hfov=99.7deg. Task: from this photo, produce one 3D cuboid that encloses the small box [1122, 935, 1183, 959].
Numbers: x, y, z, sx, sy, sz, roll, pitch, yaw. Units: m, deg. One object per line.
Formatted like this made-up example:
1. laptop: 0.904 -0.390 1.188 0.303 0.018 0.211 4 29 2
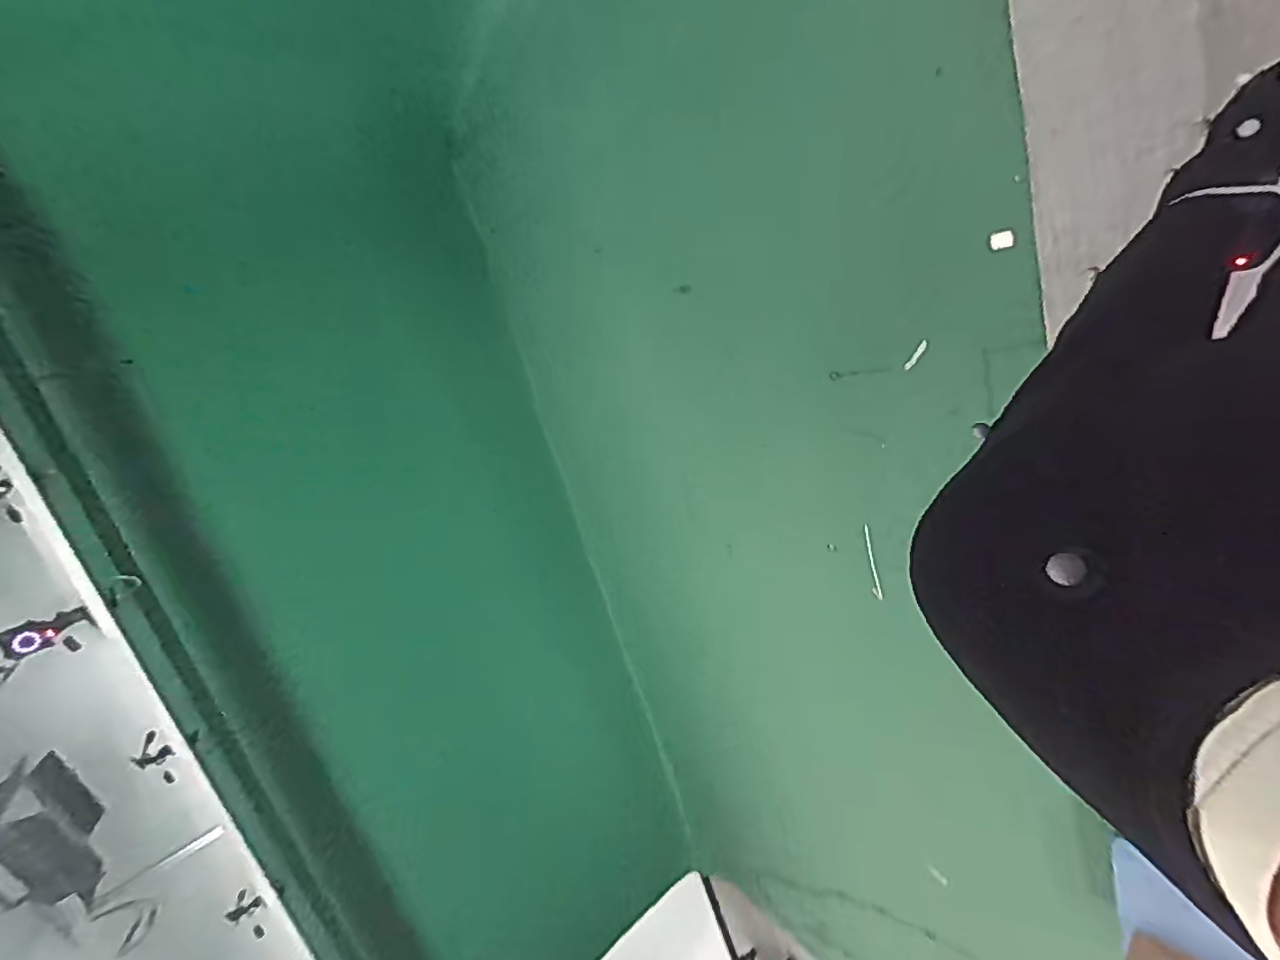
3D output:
1. small box: 1.472 1.455 1.518 0.168 0.176 0.179 1 112 54
